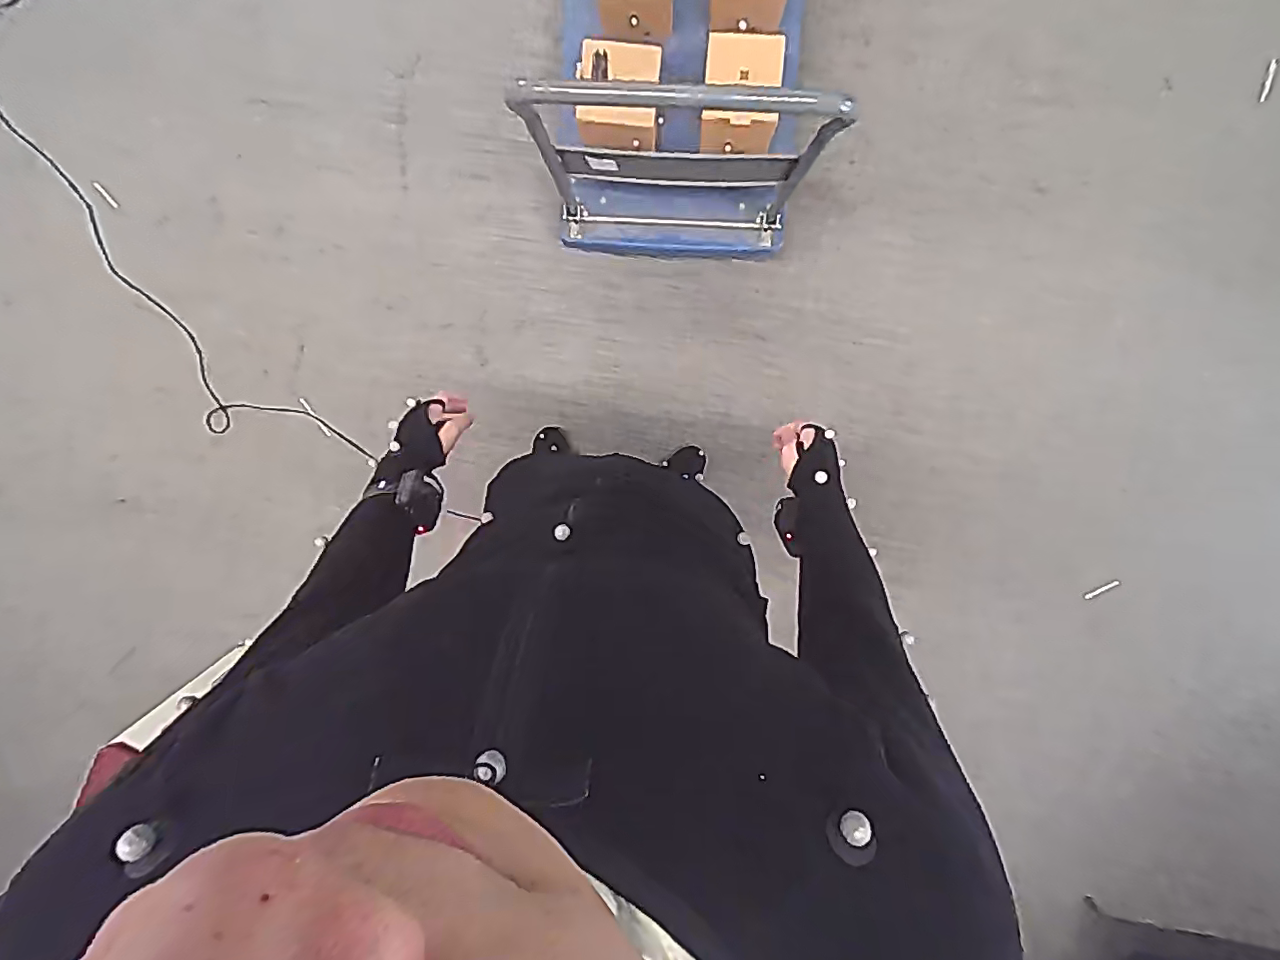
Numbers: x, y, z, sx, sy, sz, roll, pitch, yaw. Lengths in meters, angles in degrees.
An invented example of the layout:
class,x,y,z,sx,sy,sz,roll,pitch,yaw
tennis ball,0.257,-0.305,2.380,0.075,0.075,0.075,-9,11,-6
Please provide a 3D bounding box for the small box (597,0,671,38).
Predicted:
class,x,y,z,sx,sy,sz,roll,pitch,yaw
small box,-0.011,-1.155,1.239,0.168,0.176,0.179,0,97,2

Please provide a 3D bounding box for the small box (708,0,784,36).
class,x,y,z,sx,sy,sz,roll,pitch,yaw
small box,0.241,-1.158,1.225,0.168,0.176,0.179,0,98,4

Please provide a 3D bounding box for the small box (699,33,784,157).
class,x,y,z,sx,sy,sz,roll,pitch,yaw
small box,0.228,-0.890,1.261,0.168,0.176,0.179,4,98,2
